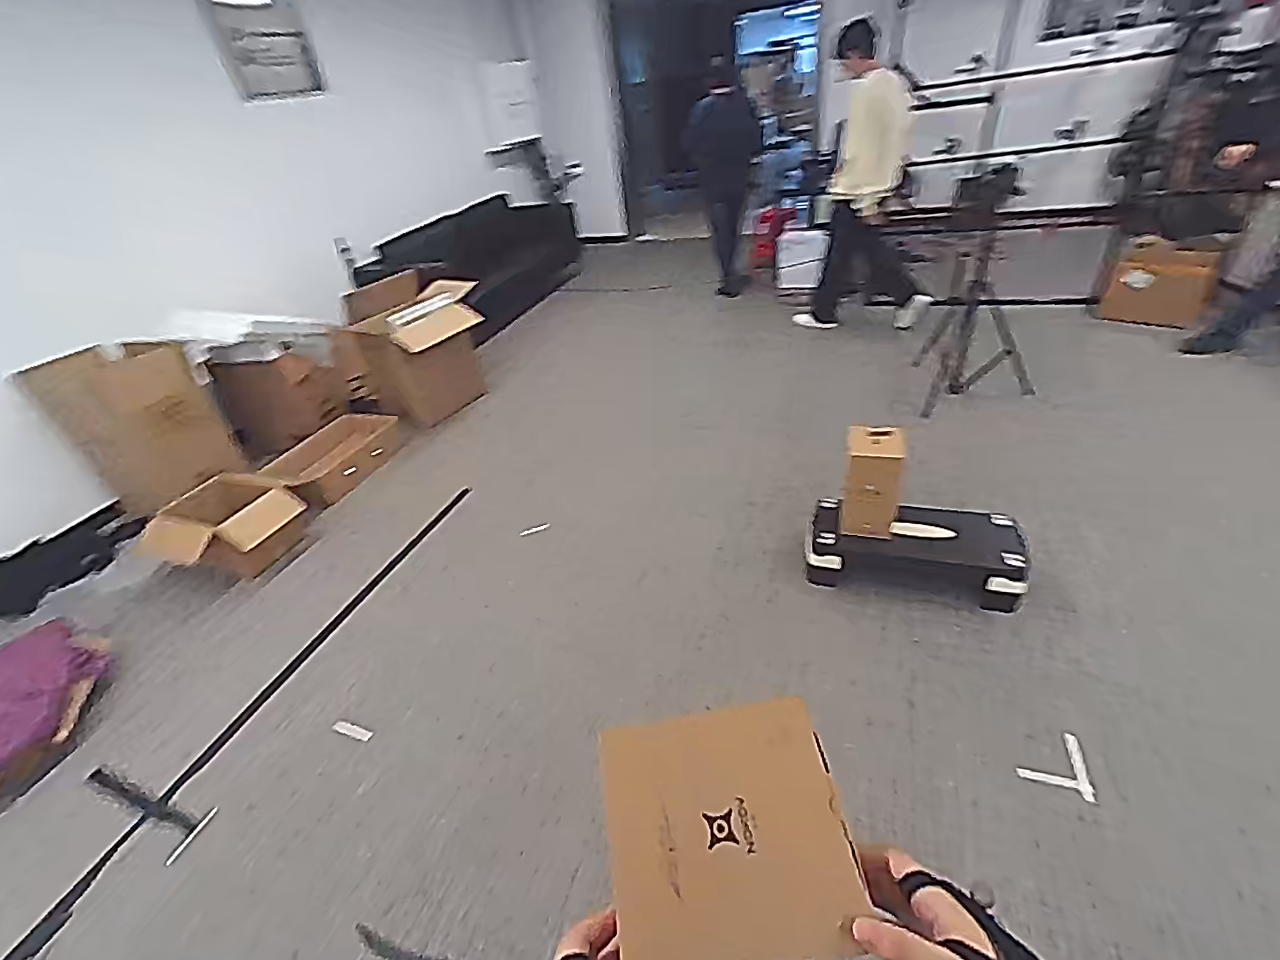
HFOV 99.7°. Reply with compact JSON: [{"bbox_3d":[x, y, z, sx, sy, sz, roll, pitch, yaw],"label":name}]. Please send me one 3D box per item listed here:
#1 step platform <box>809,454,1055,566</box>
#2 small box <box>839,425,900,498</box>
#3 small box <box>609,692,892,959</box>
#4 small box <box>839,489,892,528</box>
[{"bbox_3d":[0.913,0.086,1.776,0.684,0.204,0.286,6,38,19],"label":"step platform"},{"bbox_3d":[0.758,-0.064,1.795,0.168,0.176,0.179,5,38,18],"label":"small box"},{"bbox_3d":[0.077,0.300,0.461,0.179,0.176,0.168,-10,52,-1],"label":"small box"},{"bbox_3d":[0.779,0.072,1.886,0.168,0.176,0.179,5,38,19],"label":"small box"}]
